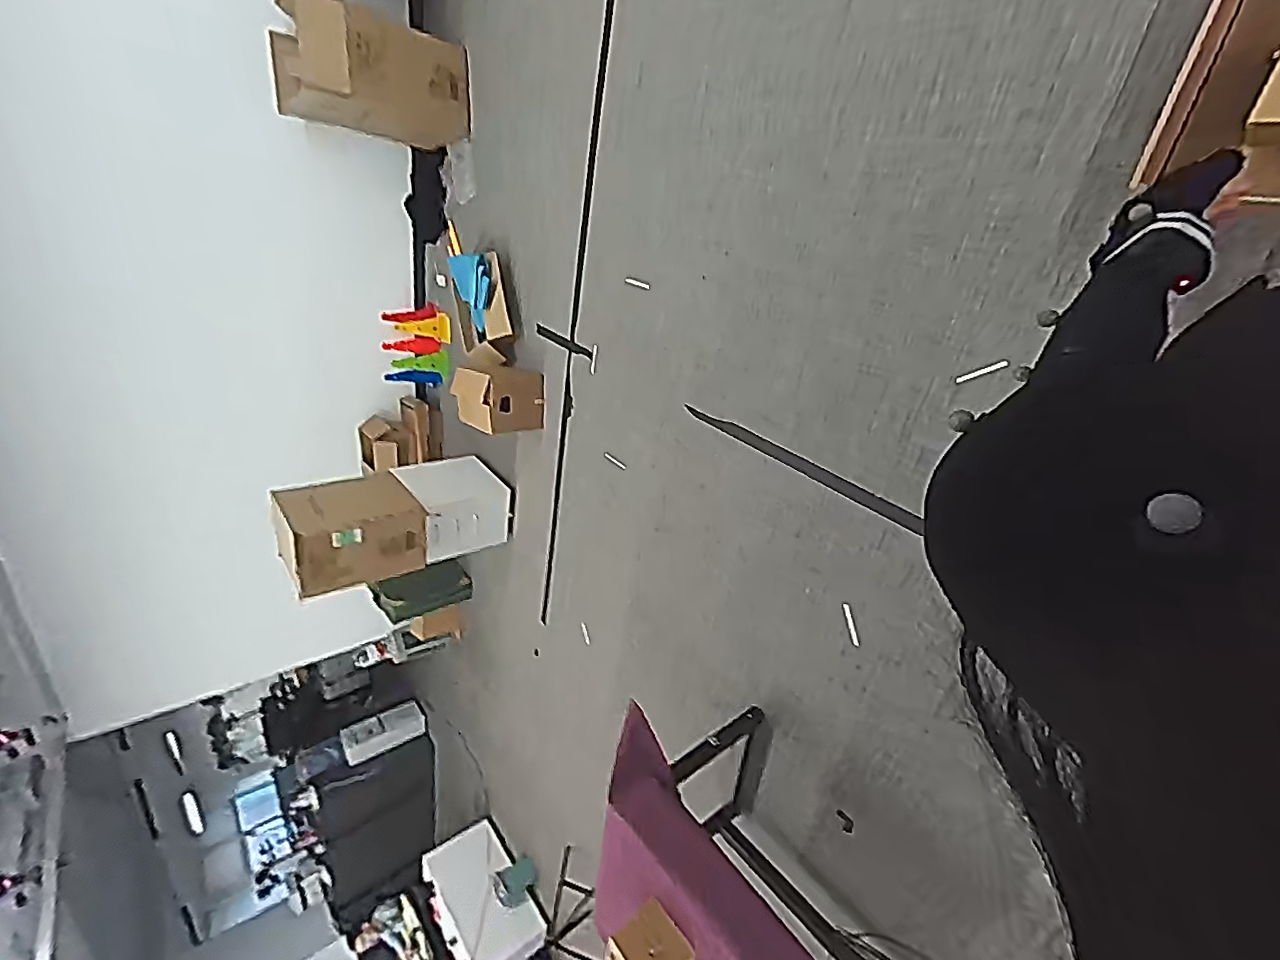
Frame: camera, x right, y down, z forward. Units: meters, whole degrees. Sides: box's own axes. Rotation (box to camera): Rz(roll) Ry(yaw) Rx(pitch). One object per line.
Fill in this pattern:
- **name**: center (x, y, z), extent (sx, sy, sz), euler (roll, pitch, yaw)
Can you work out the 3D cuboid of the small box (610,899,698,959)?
- **small box**: center (0.037, 1.315, 1.483), extent (0.179, 0.176, 0.168), euler (29, 121, 42)
